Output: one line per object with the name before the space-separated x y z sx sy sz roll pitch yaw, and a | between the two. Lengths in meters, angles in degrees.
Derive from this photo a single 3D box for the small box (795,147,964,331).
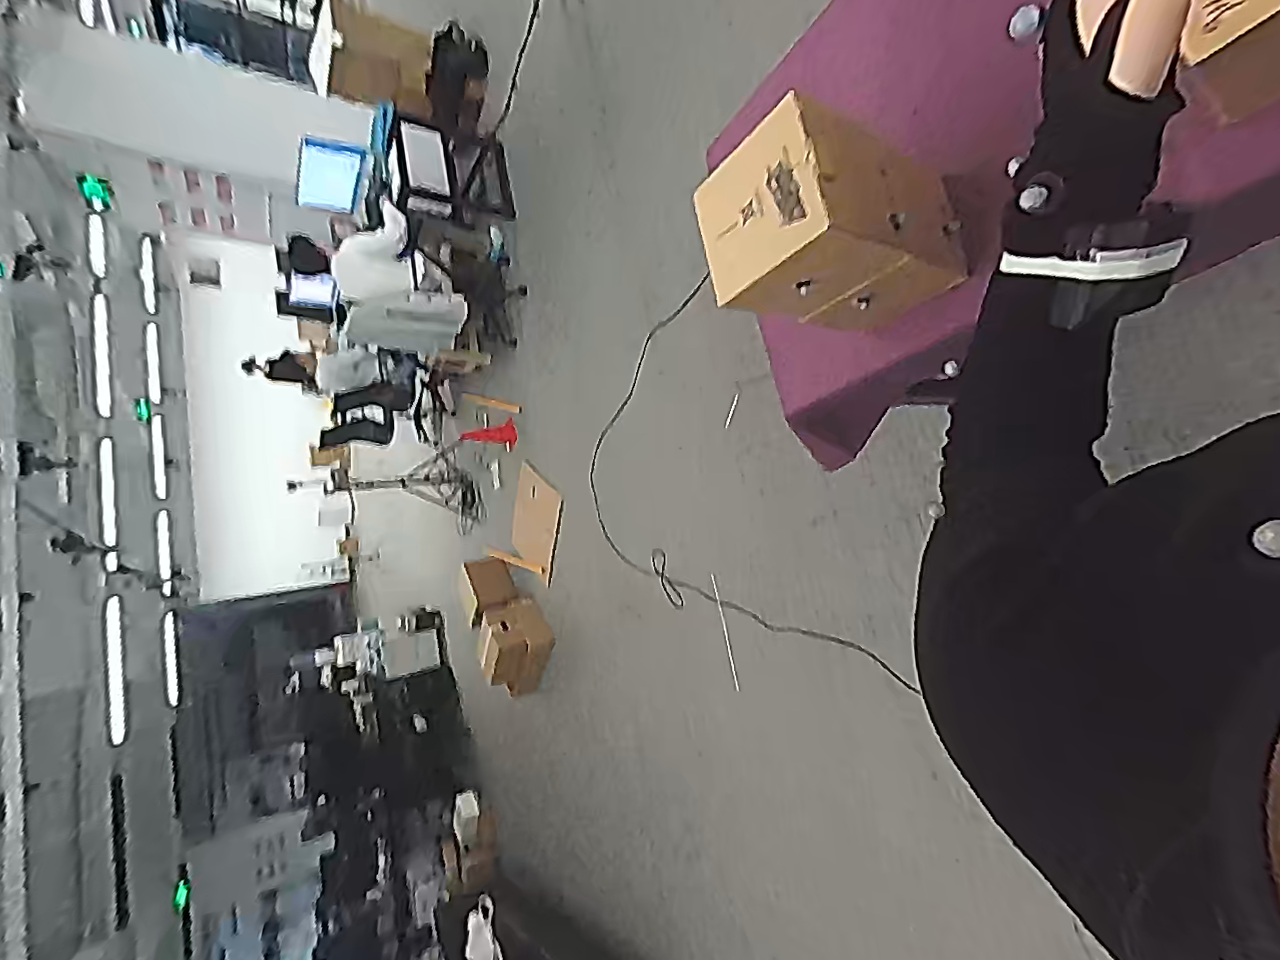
small box | 0.329 -0.332 0.789 0.179 0.176 0.168 -23 76 52

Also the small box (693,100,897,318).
small box | 0.199 -0.324 0.689 0.179 0.176 0.168 -24 75 53

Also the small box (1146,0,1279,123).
small box | 0.558 -0.455 0.457 0.179 0.176 0.168 -25 74 52
